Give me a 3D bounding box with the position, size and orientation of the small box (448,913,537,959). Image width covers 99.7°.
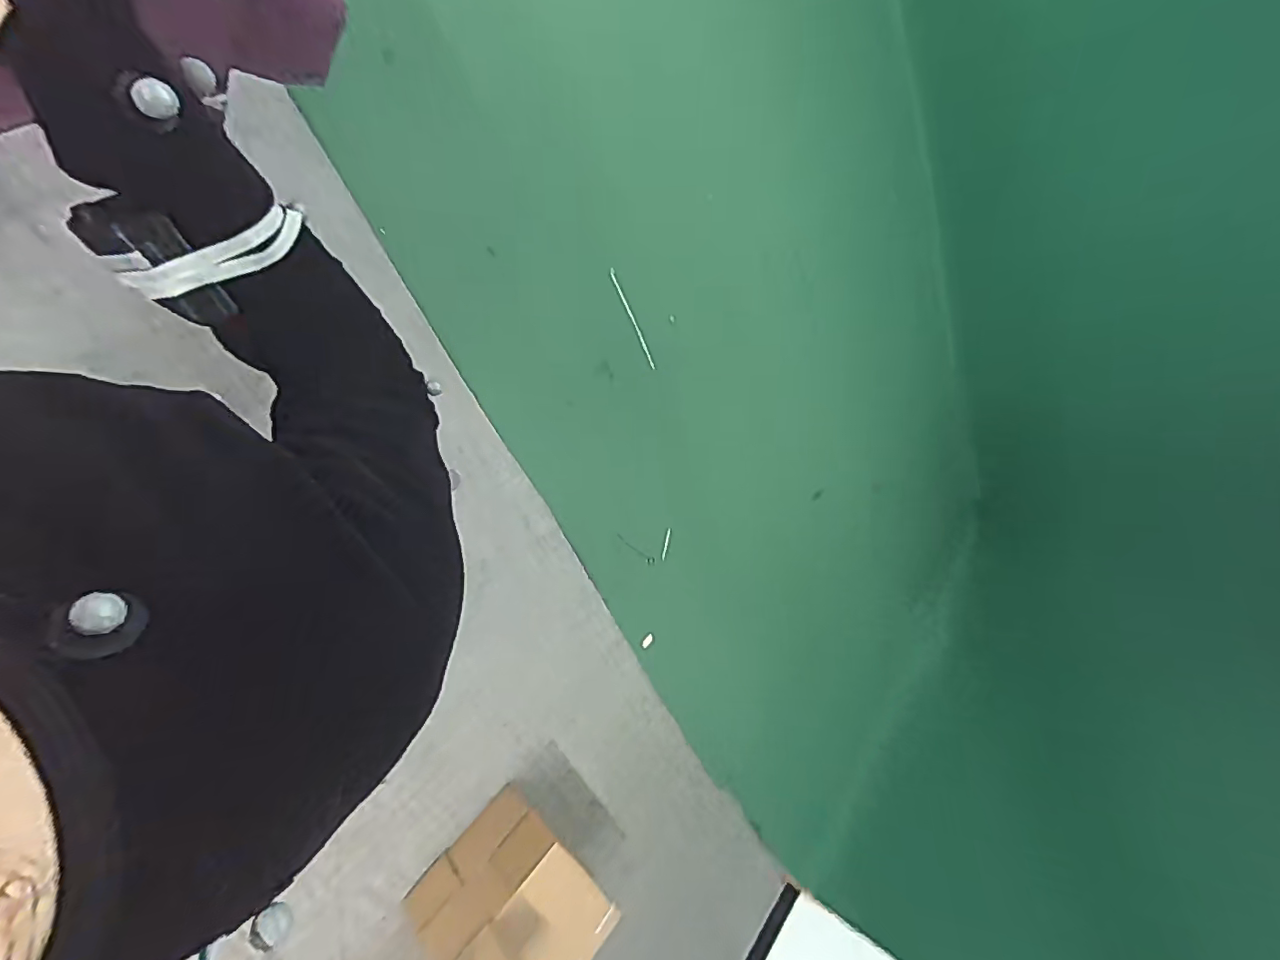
[{"bbox_3d":[-0.350,1.231,1.335,0.168,0.176,0.179,-41,119,-29],"label":"small box"}]
